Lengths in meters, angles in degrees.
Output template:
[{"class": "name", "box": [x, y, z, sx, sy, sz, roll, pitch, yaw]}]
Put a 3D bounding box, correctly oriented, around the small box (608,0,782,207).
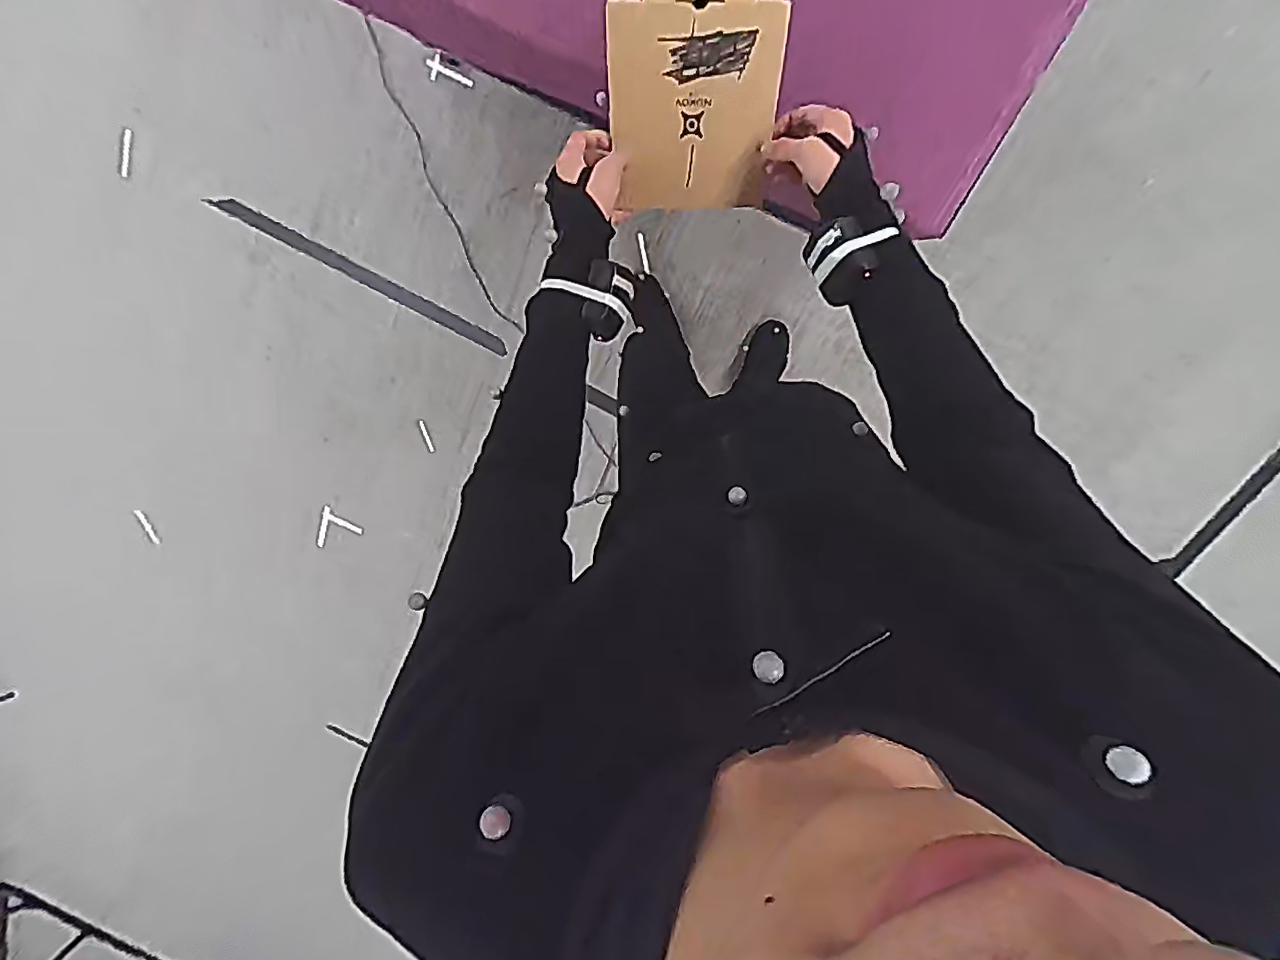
[{"class": "small box", "box": [0.048, -0.418, 0.613, 0.168, 0.176, 0.179, -2, 125, -2]}]
